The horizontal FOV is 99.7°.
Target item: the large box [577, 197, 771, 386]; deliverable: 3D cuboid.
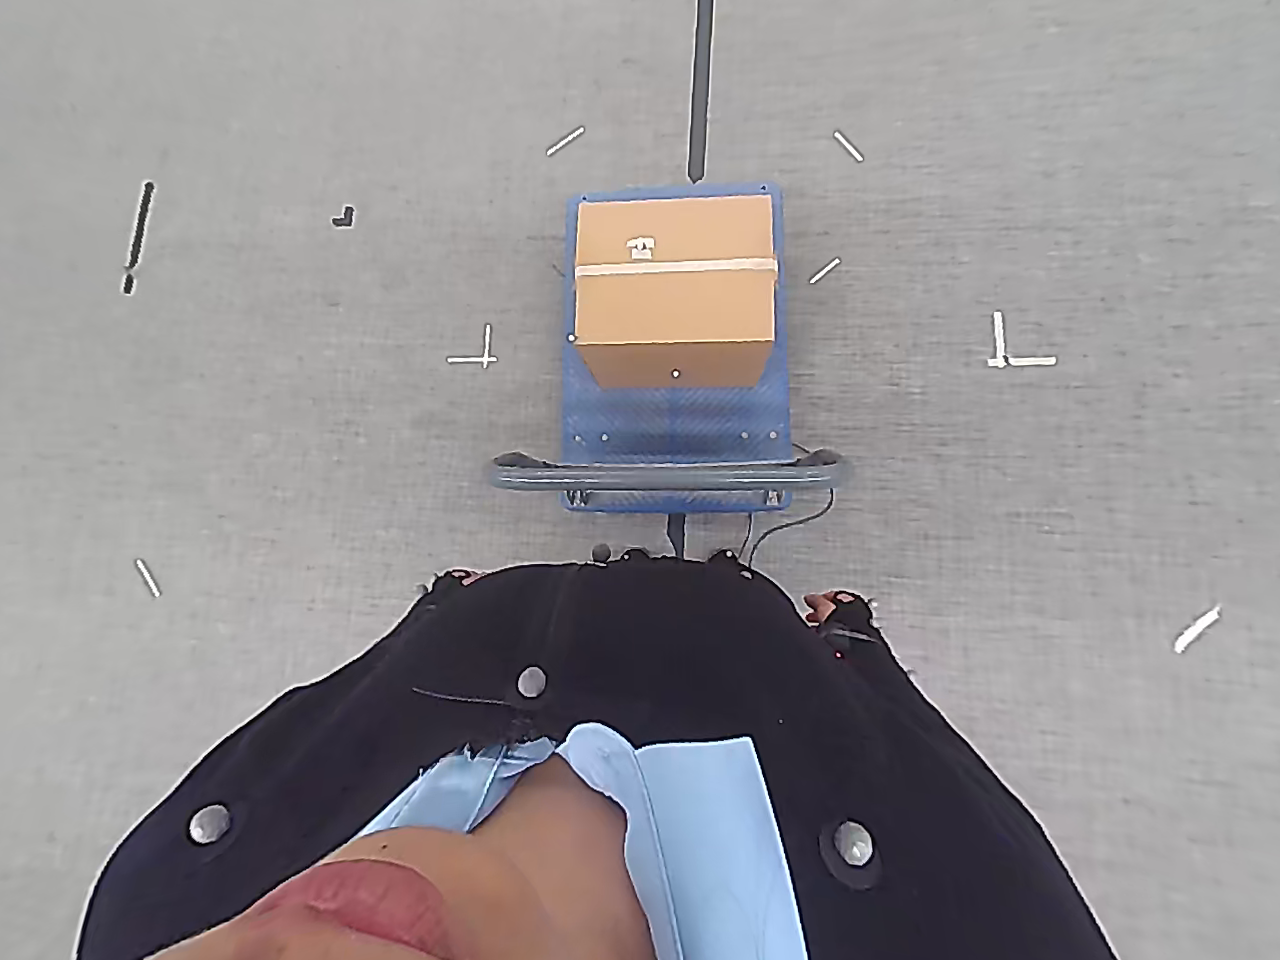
[{"bbox_3d":[0.084,-0.415,1.271,0.408,0.320,0.320,0,82,7],"label":"large box"}]
